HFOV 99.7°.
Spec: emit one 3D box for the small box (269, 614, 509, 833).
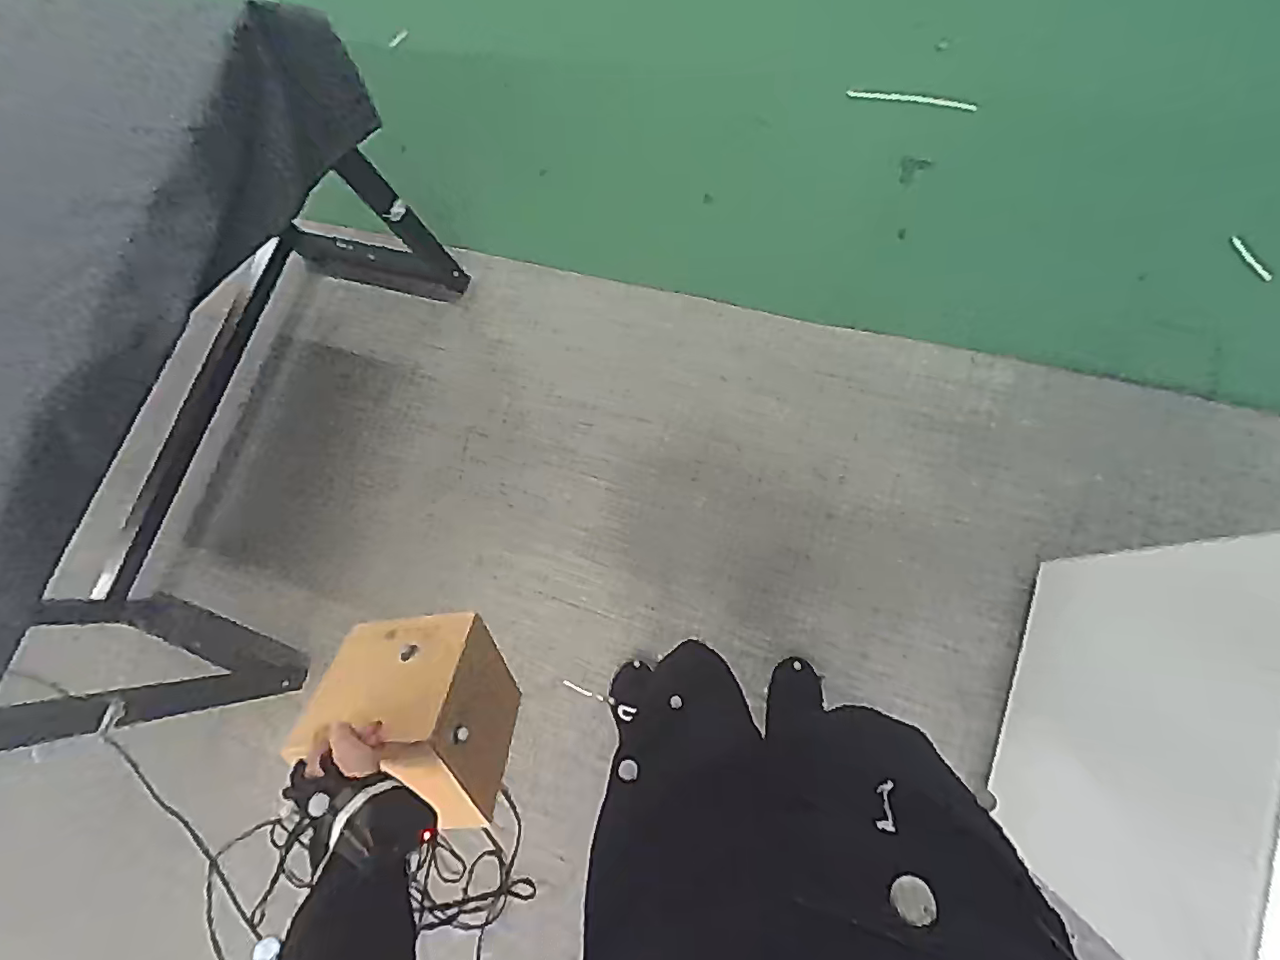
[{"bbox_3d":[-0.270,0.283,0.637,0.168,0.179,0.176,-9,33,7],"label":"small box"}]
